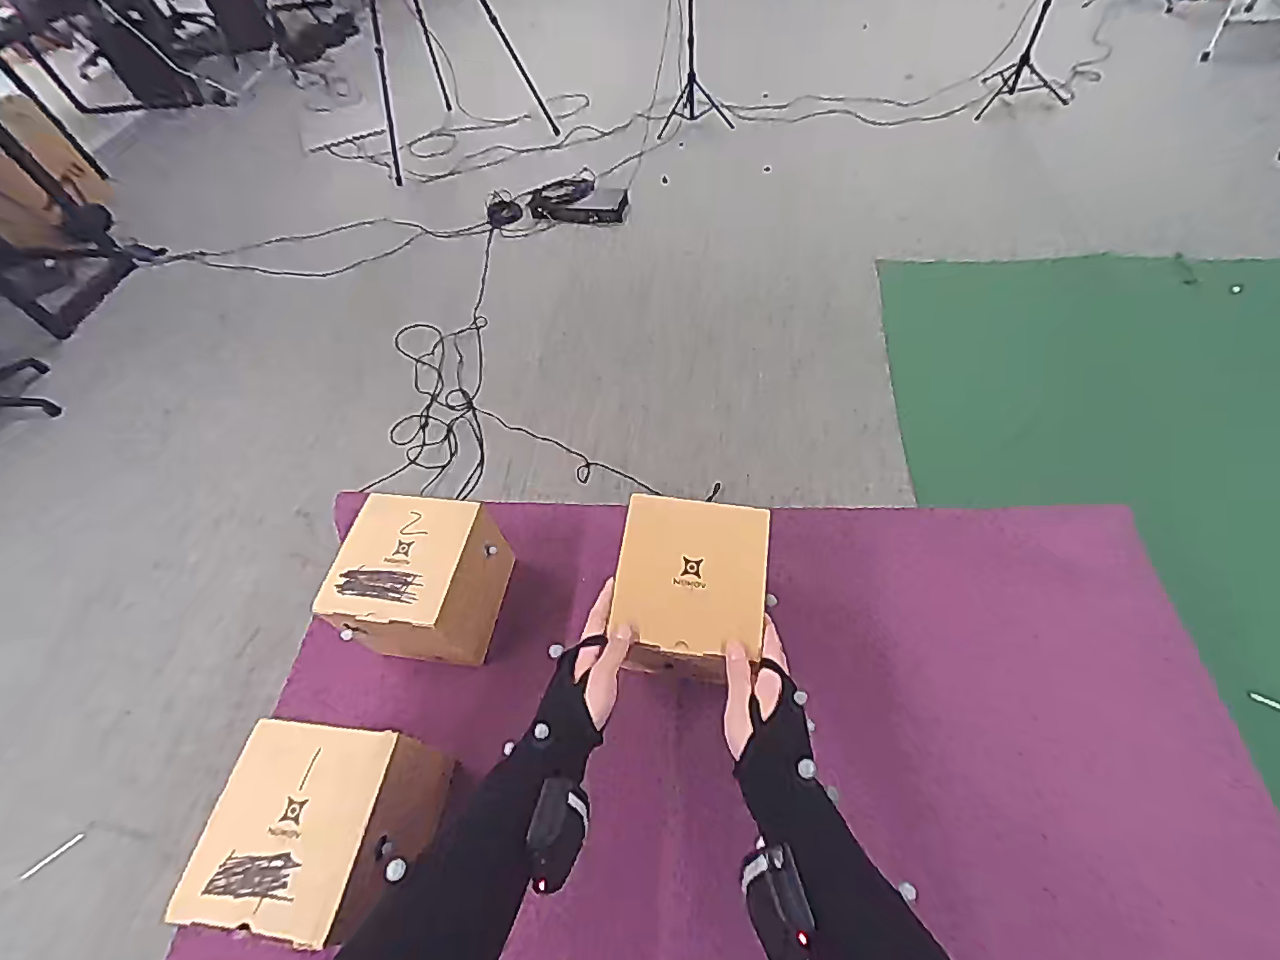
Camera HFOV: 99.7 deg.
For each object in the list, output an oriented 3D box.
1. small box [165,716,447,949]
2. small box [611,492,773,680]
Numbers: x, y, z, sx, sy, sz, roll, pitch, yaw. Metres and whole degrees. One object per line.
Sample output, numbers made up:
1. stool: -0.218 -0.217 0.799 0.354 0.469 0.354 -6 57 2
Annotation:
1. small box: -0.334 0.374 0.589 0.168 0.176 0.179 3 55 7
2. small box: 0.063 0.136 0.669 0.168 0.176 0.179 7 64 6
